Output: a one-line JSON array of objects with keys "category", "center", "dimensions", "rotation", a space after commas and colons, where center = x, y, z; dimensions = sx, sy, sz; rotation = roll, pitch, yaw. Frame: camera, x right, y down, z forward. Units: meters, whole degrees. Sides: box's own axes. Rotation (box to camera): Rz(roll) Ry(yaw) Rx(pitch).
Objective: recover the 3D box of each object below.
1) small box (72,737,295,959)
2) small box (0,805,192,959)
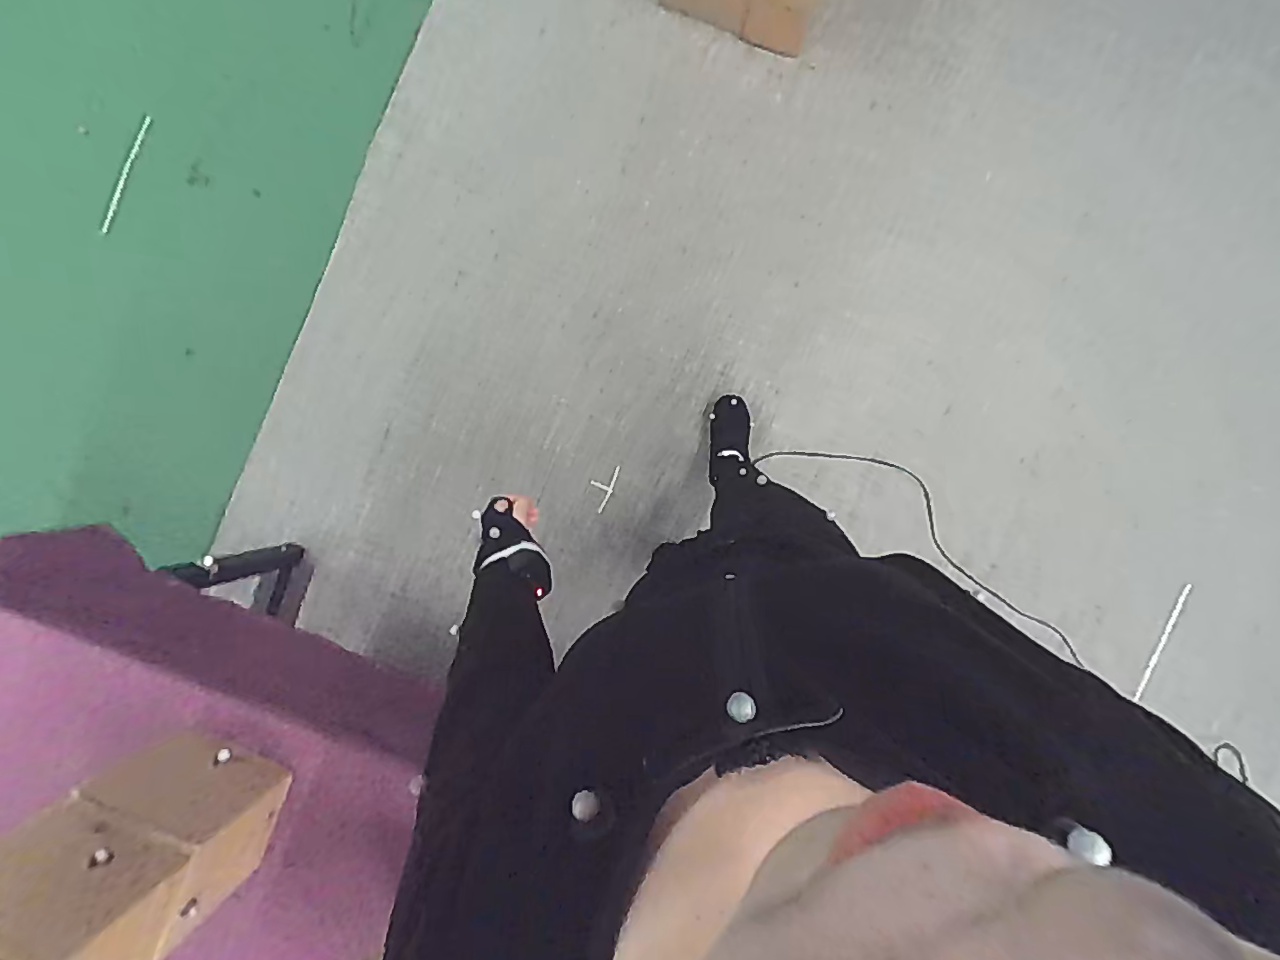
[{"category": "small box", "center": [-0.620, 0.480, 0.727], "dimensions": [0.179, 0.176, 0.168], "rotation": [22, 93, 3]}, {"category": "small box", "center": [-0.630, 0.493, 0.564], "dimensions": [0.168, 0.176, 0.179], "rotation": [23, 91, 1]}]
